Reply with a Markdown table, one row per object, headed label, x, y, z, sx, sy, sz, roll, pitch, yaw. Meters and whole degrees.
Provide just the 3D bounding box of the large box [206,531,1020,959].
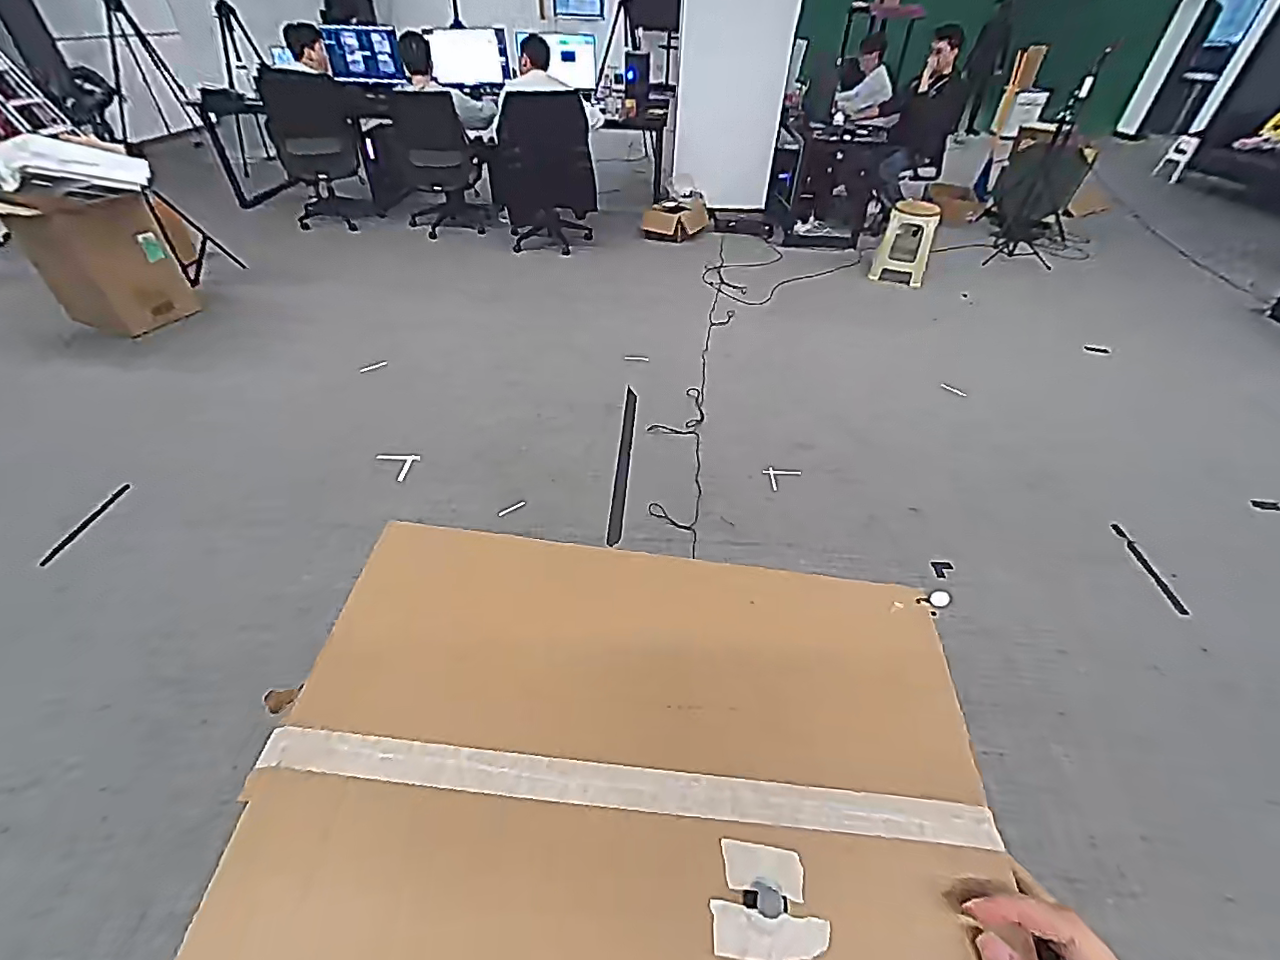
| label | x | y | z | sx | sy | sz | roll | pitch | yaw |
| --- | --- | --- | --- | --- | --- | --- | --- | --- | --- |
| large box | -0.013 | 0.273 | 0.425 | 0.408 | 0.320 | 0.320 | 8 | 50 | -2 |
